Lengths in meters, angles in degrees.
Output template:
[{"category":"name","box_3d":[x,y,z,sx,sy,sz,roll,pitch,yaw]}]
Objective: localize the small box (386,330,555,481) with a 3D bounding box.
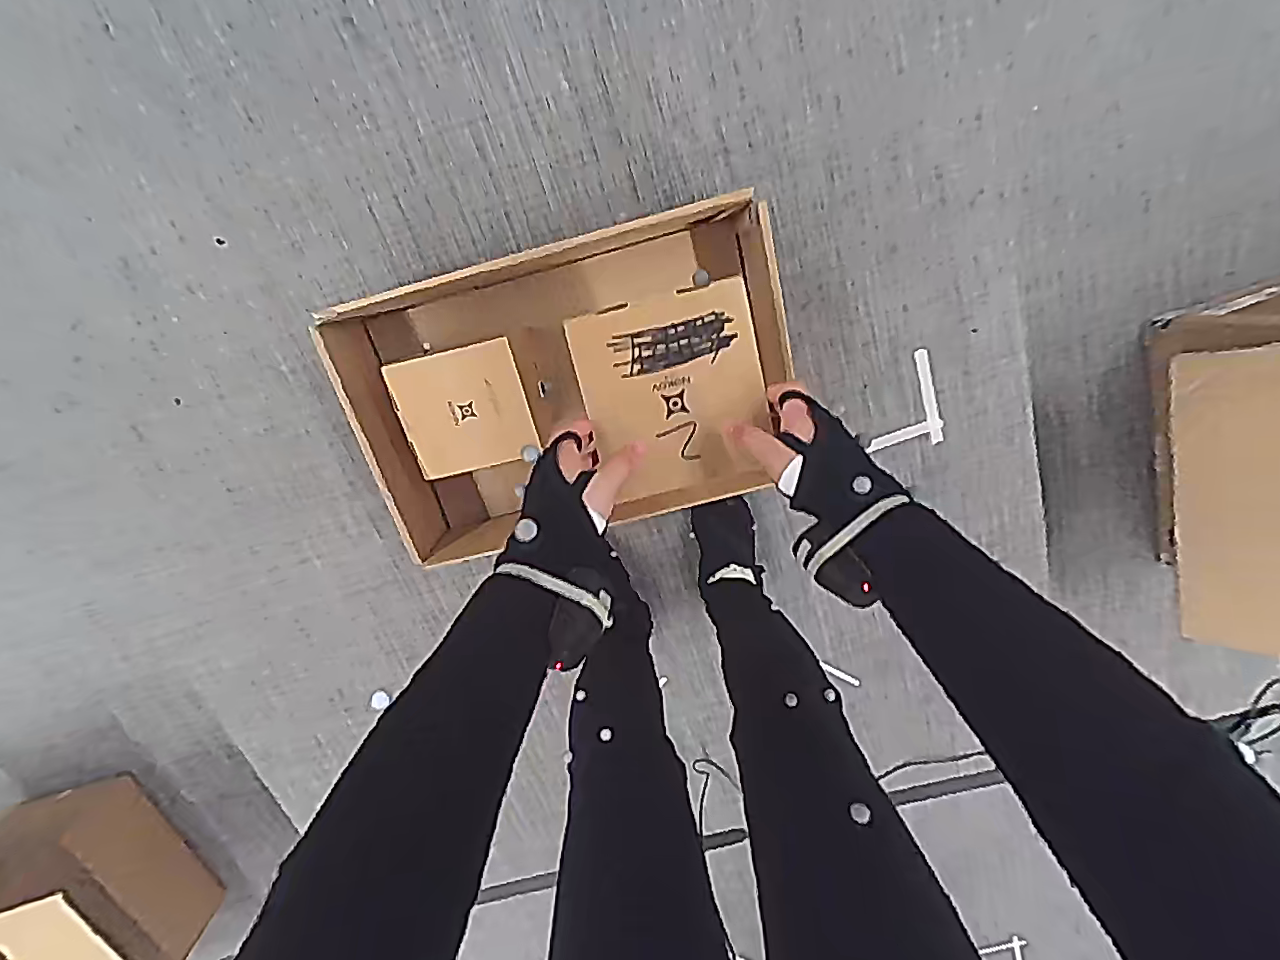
[{"category":"small box","box_3d":[-0.238,-0.118,0.812,0.179,0.176,0.168,-14,111,2]}]
